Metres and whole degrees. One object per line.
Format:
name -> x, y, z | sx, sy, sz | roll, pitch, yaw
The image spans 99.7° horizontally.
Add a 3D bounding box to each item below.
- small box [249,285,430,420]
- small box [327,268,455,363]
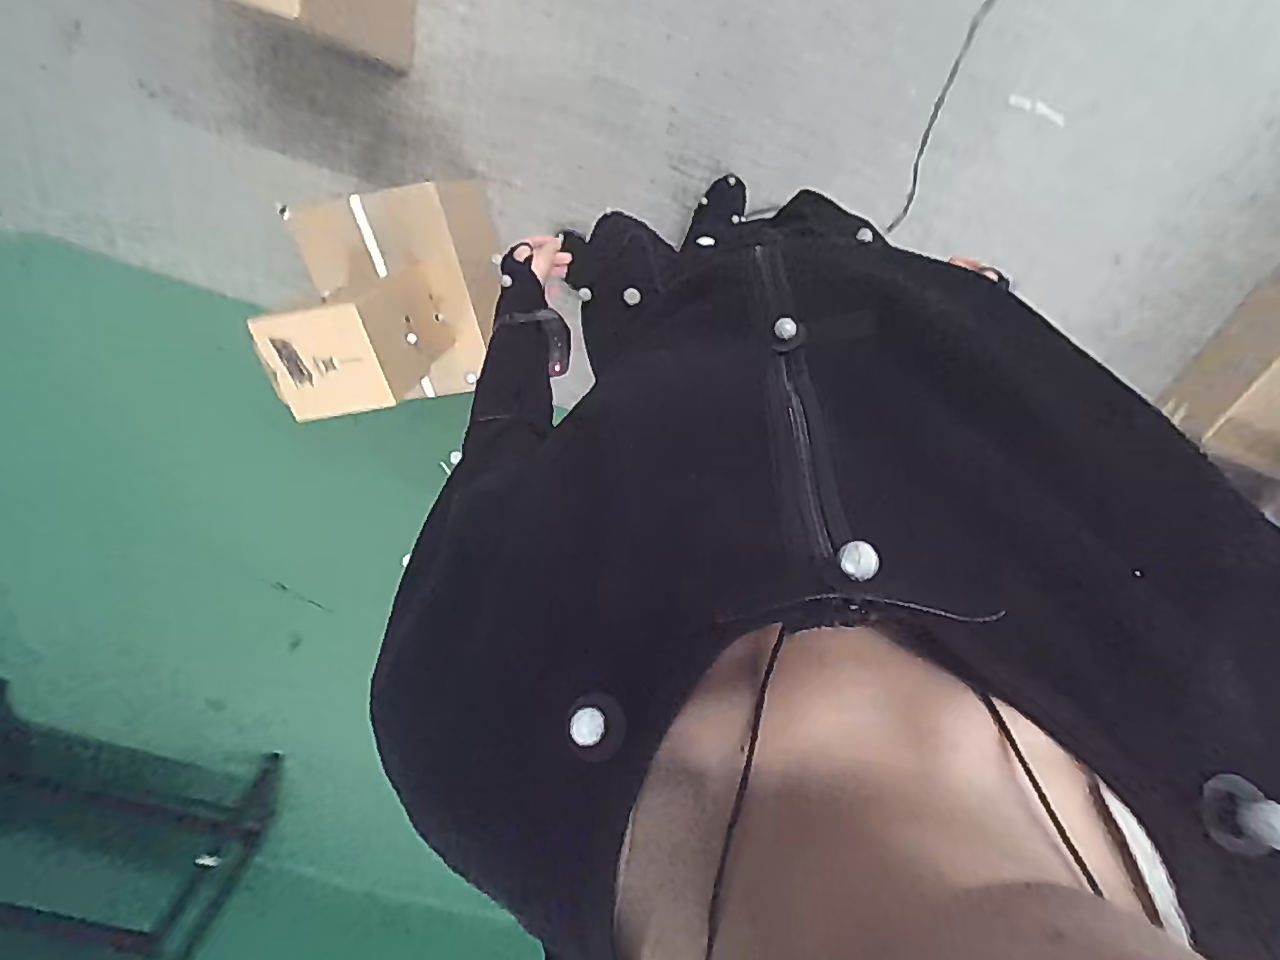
small box -> -0.484, -0.216, 0.902 | 0.179, 0.176, 0.168 | -8, 120, 6
small box -> -0.490, -0.296, 1.046 | 0.179, 0.176, 0.168 | -12, 119, 9
